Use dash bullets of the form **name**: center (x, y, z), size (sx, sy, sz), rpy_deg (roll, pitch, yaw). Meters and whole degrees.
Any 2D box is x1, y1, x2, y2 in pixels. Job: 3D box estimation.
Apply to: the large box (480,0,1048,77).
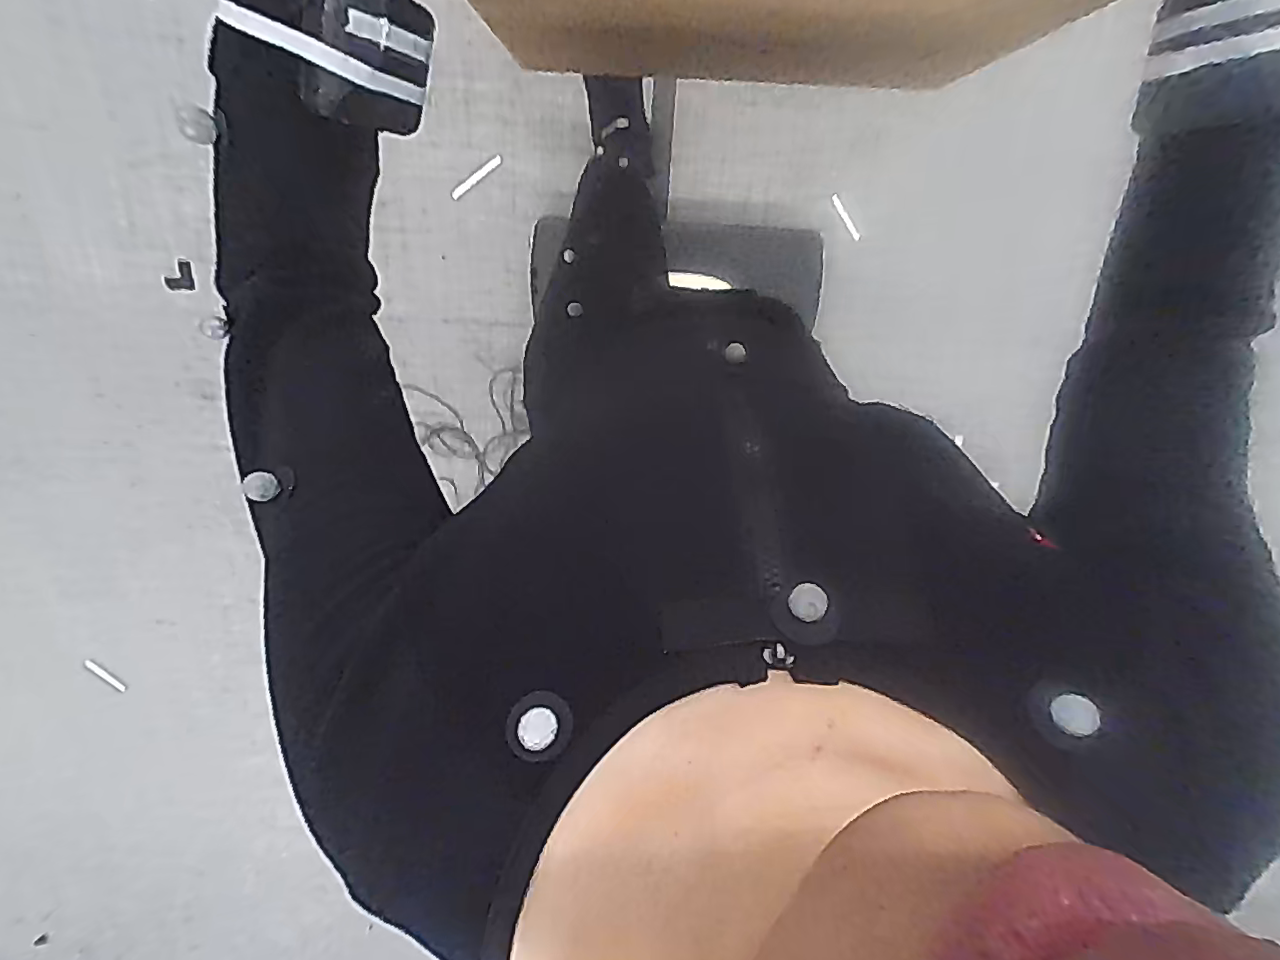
- **large box**: center (0.084, -0.473, 0.325), size (0.408, 0.320, 0.320), rpy_deg (2, 114, 0)
